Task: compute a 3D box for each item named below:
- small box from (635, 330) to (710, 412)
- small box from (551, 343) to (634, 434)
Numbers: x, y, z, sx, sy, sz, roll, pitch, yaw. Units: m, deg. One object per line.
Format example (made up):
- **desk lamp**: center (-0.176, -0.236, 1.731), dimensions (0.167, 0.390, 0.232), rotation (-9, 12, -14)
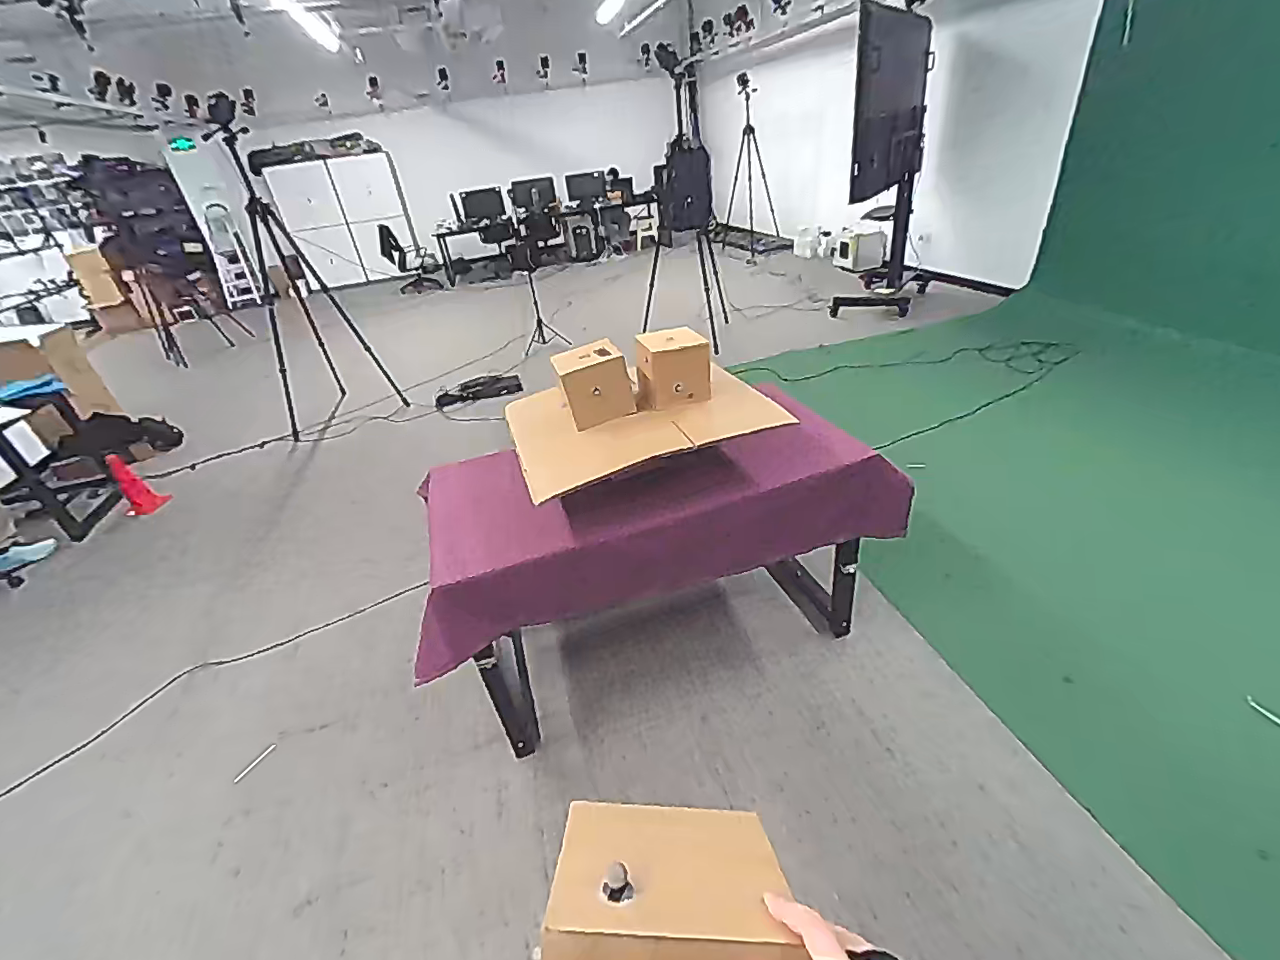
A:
- **small box**: center (0.091, -0.310, 1.533), dimensions (0.168, 0.176, 0.179), rotation (-14, 33, -12)
- **small box**: center (-0.127, -0.252, 1.490), dimensions (0.179, 0.176, 0.168), rotation (-21, 34, -7)
